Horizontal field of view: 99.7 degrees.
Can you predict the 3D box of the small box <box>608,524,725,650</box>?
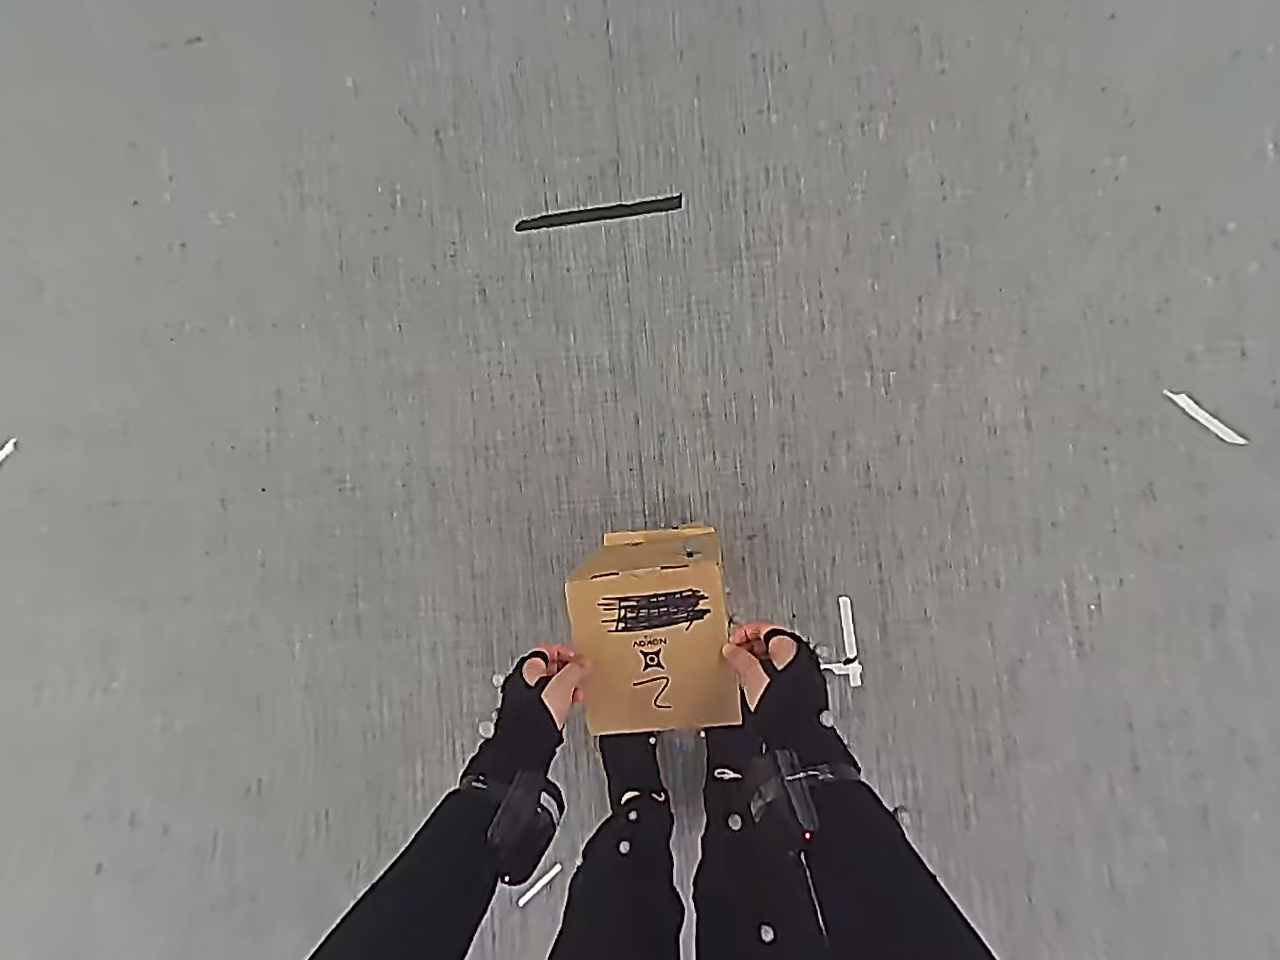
[{"bbox_3d":[0.044,0.162,0.862,0.168,0.176,0.179,-4,86,5],"label":"small box"}]
